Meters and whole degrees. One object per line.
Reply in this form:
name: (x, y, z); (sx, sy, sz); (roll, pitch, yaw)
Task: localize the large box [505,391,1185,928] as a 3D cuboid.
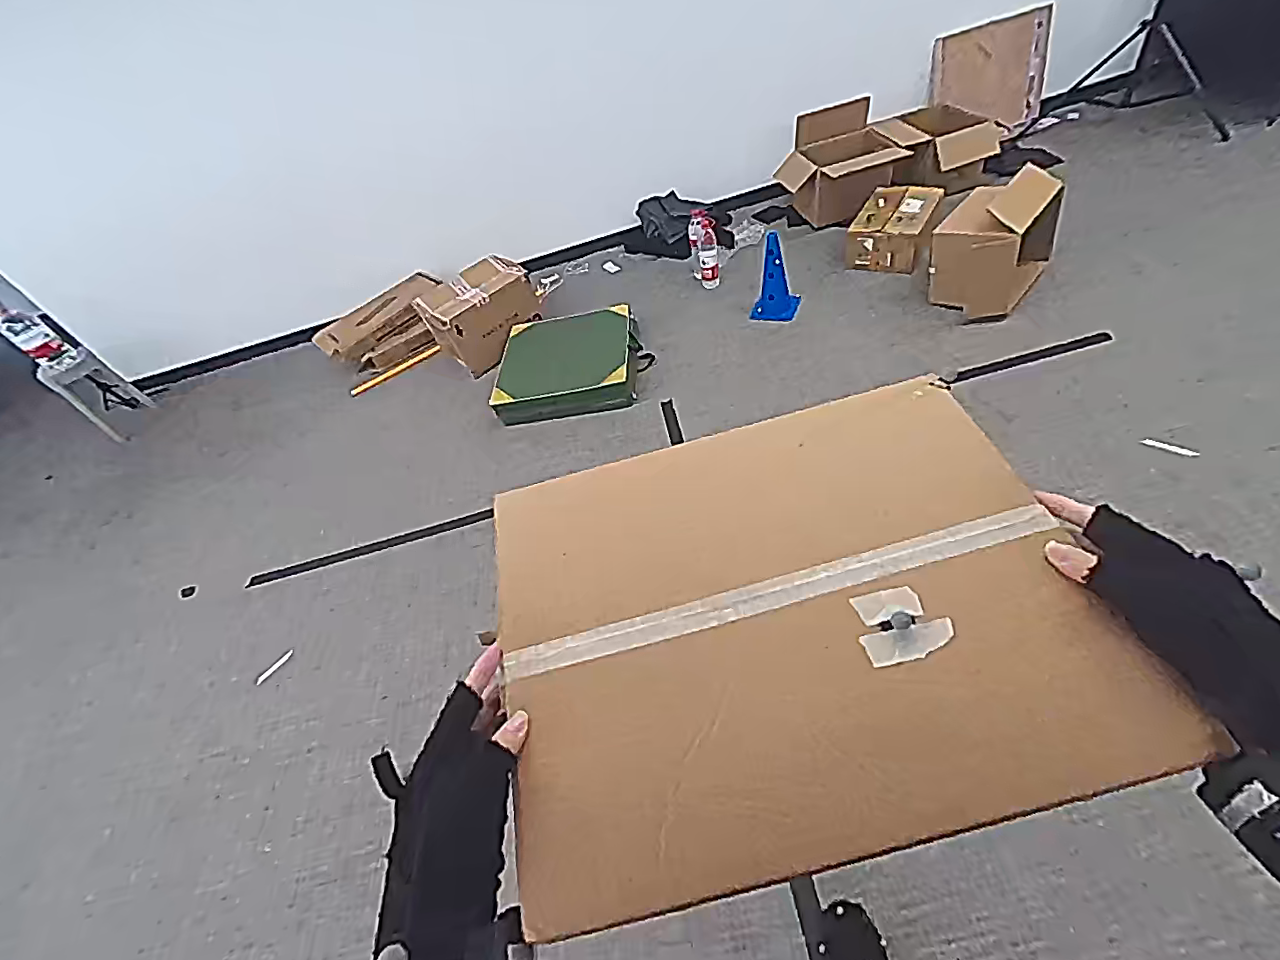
large box: (0.122, 0.174, 0.522); (0.408, 0.320, 0.320); (-15, 54, 0)
